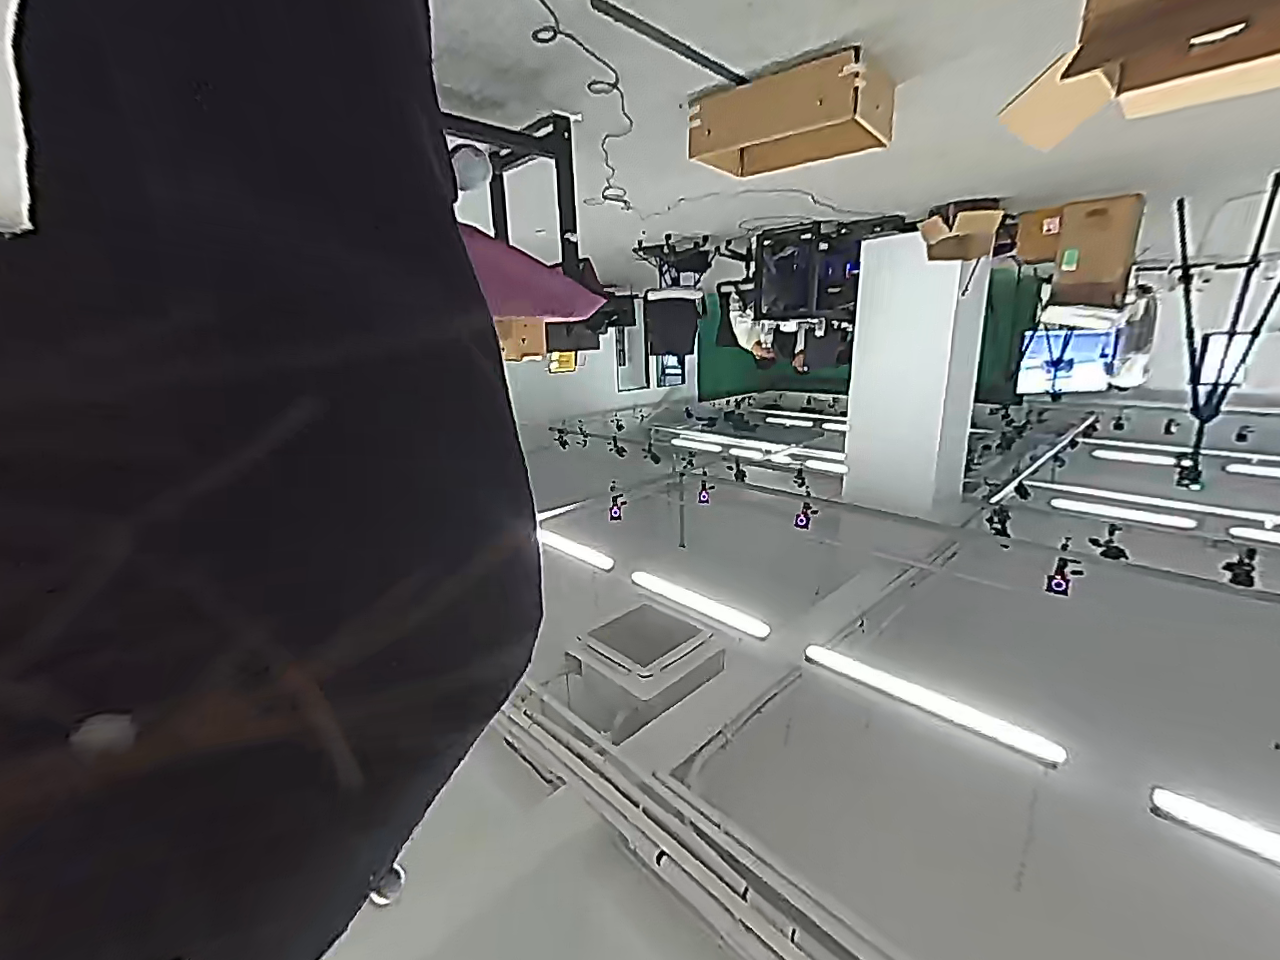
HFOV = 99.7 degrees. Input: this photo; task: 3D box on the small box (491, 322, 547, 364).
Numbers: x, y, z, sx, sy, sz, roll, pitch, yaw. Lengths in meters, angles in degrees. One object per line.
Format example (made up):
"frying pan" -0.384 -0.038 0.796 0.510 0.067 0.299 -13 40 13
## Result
"small box" -0.525 -0.591 2.323 0.179 0.176 0.168 11 -161 40
